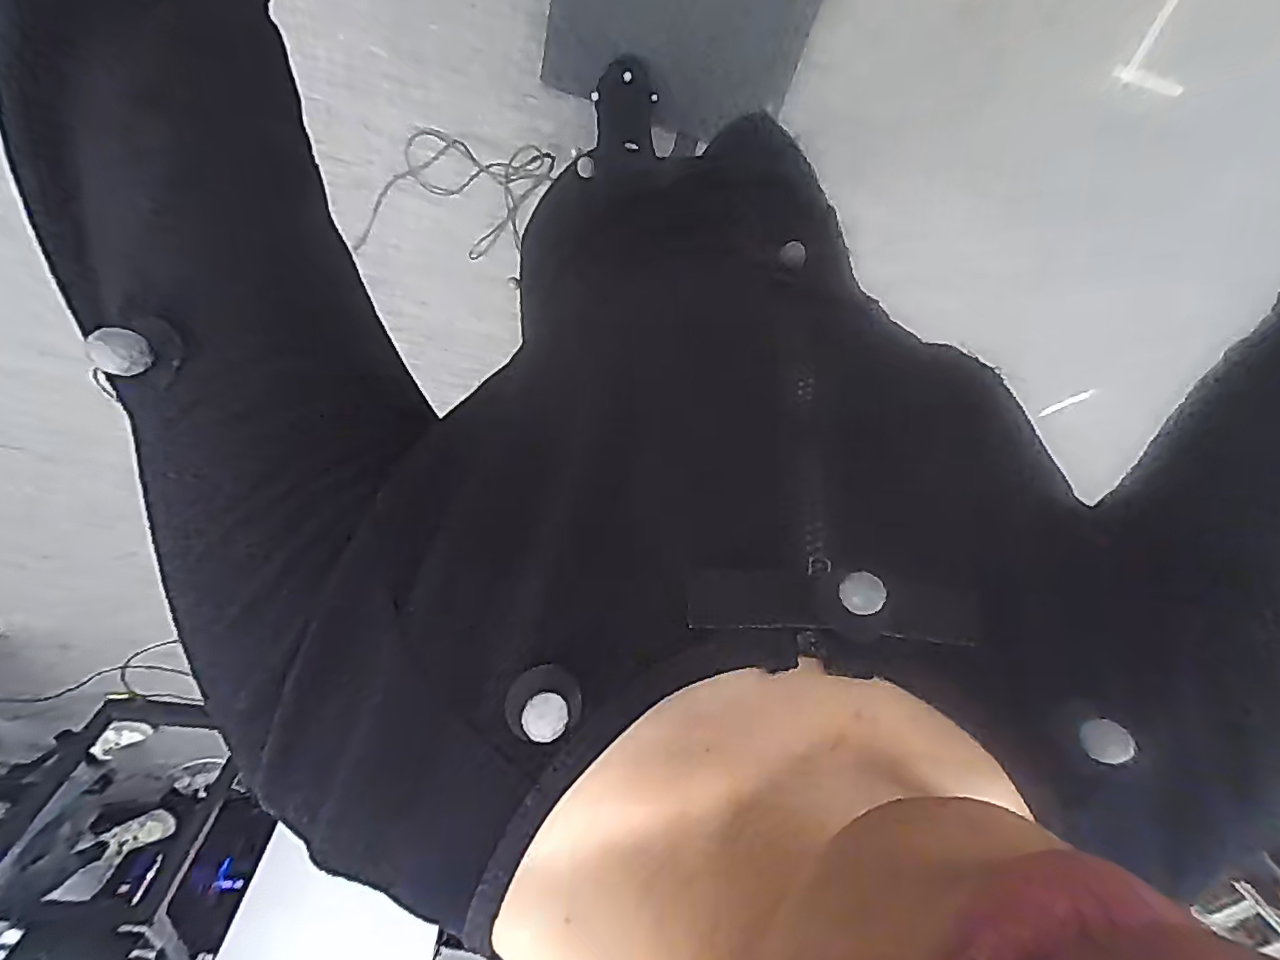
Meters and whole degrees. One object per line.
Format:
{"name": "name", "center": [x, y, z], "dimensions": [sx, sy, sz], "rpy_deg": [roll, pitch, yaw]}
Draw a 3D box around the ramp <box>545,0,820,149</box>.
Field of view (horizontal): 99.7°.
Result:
{"name": "ramp", "center": [0.169, -1.110, 0.813], "dimensions": [0.509, 0.206, 0.991], "rpy_deg": [9, 124, -11]}
